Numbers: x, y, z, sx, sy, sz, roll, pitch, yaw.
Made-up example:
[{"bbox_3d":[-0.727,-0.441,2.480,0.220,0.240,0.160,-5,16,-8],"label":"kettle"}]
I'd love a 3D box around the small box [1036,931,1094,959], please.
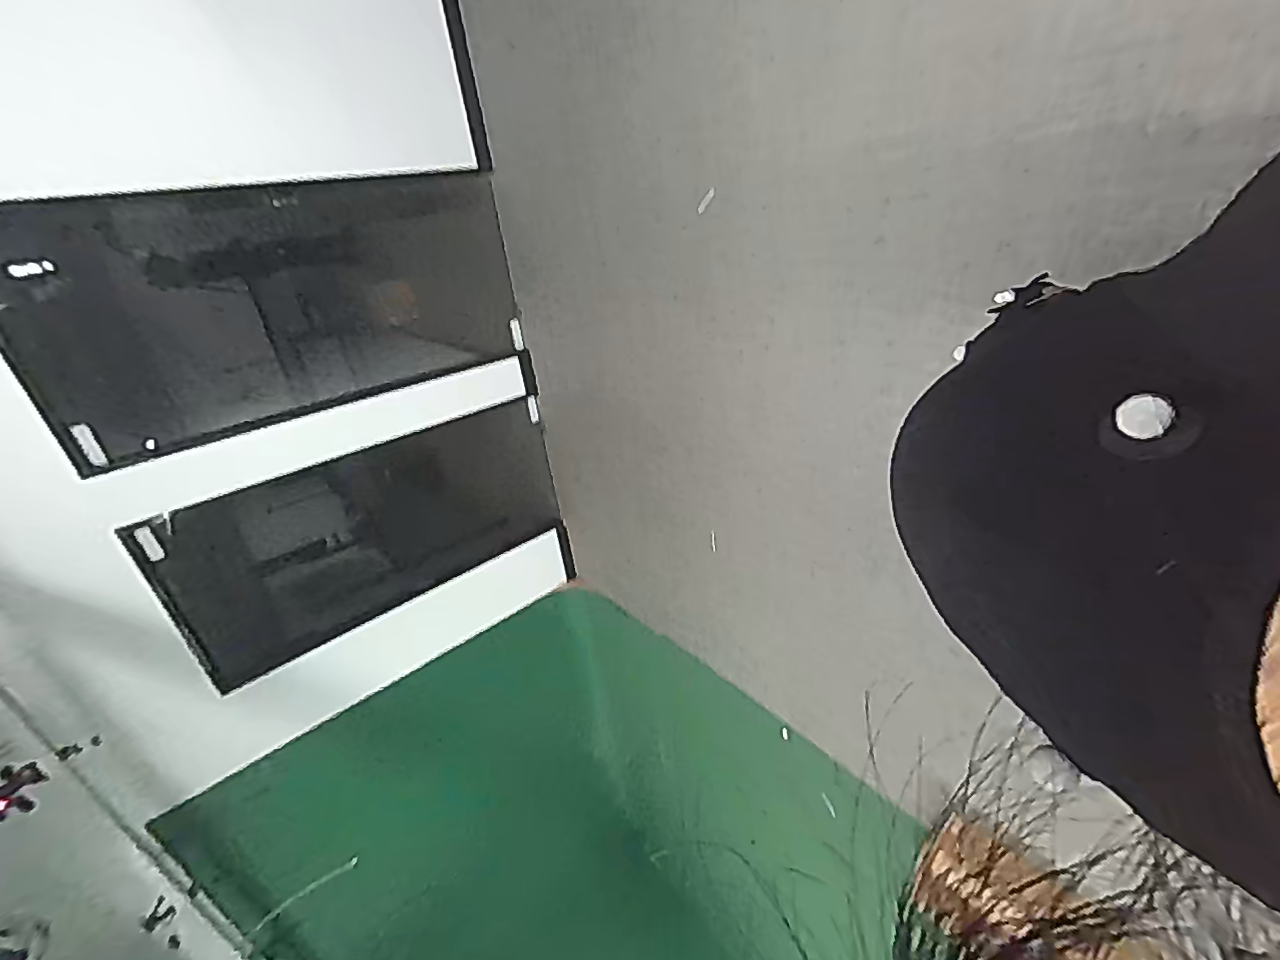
[{"bbox_3d":[1.355,1.585,1.694,0.179,0.176,0.168,27,131,42],"label":"small box"}]
